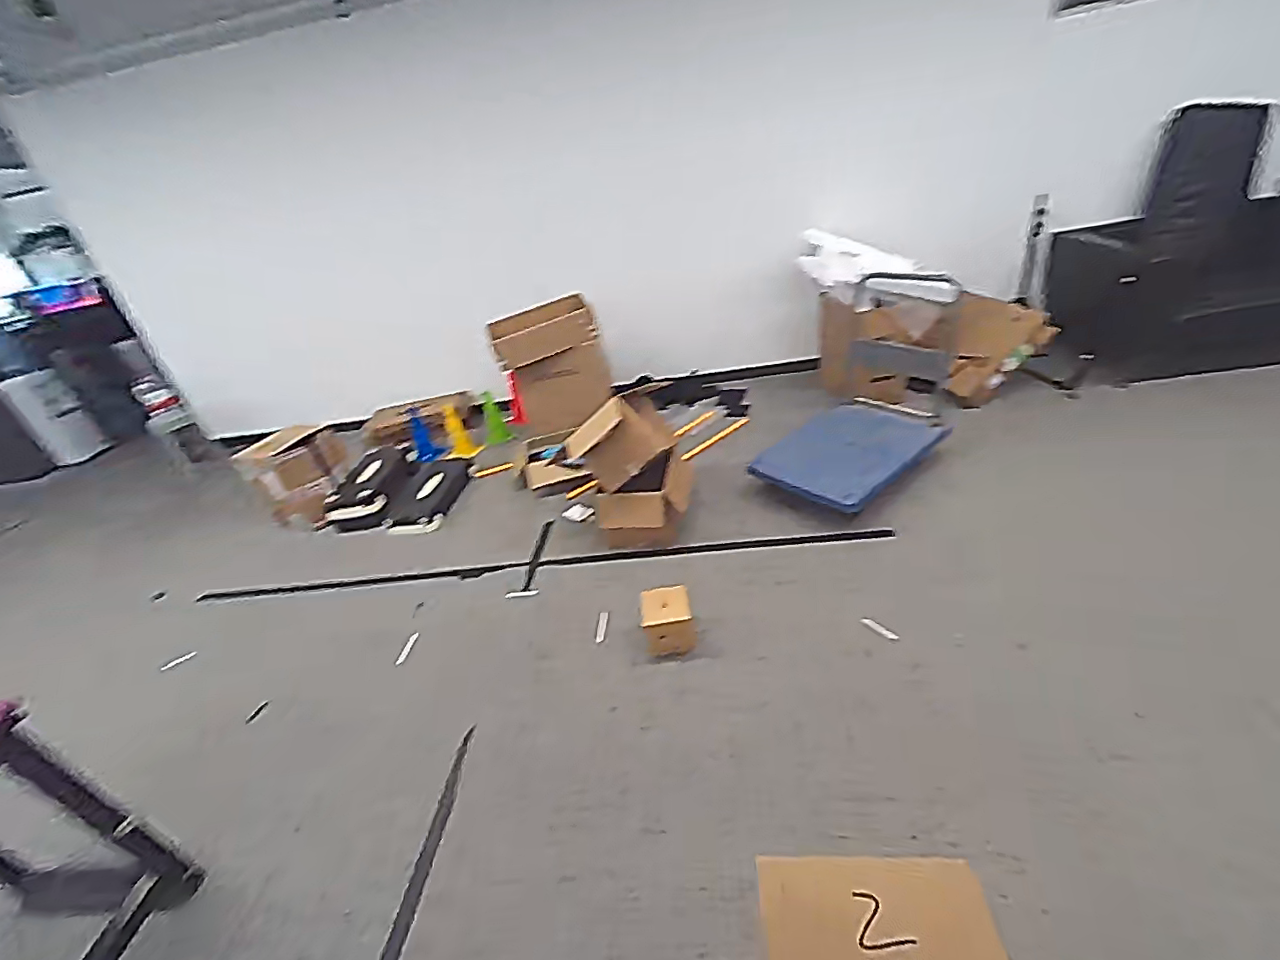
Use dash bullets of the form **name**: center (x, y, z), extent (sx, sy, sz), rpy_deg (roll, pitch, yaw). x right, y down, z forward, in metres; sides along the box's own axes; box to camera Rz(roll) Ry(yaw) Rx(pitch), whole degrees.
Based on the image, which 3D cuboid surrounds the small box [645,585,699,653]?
- **small box**: center (0.117, 0.516, 1.981), extent (0.168, 0.176, 0.179), rpy_deg (-10, 30, 2)
